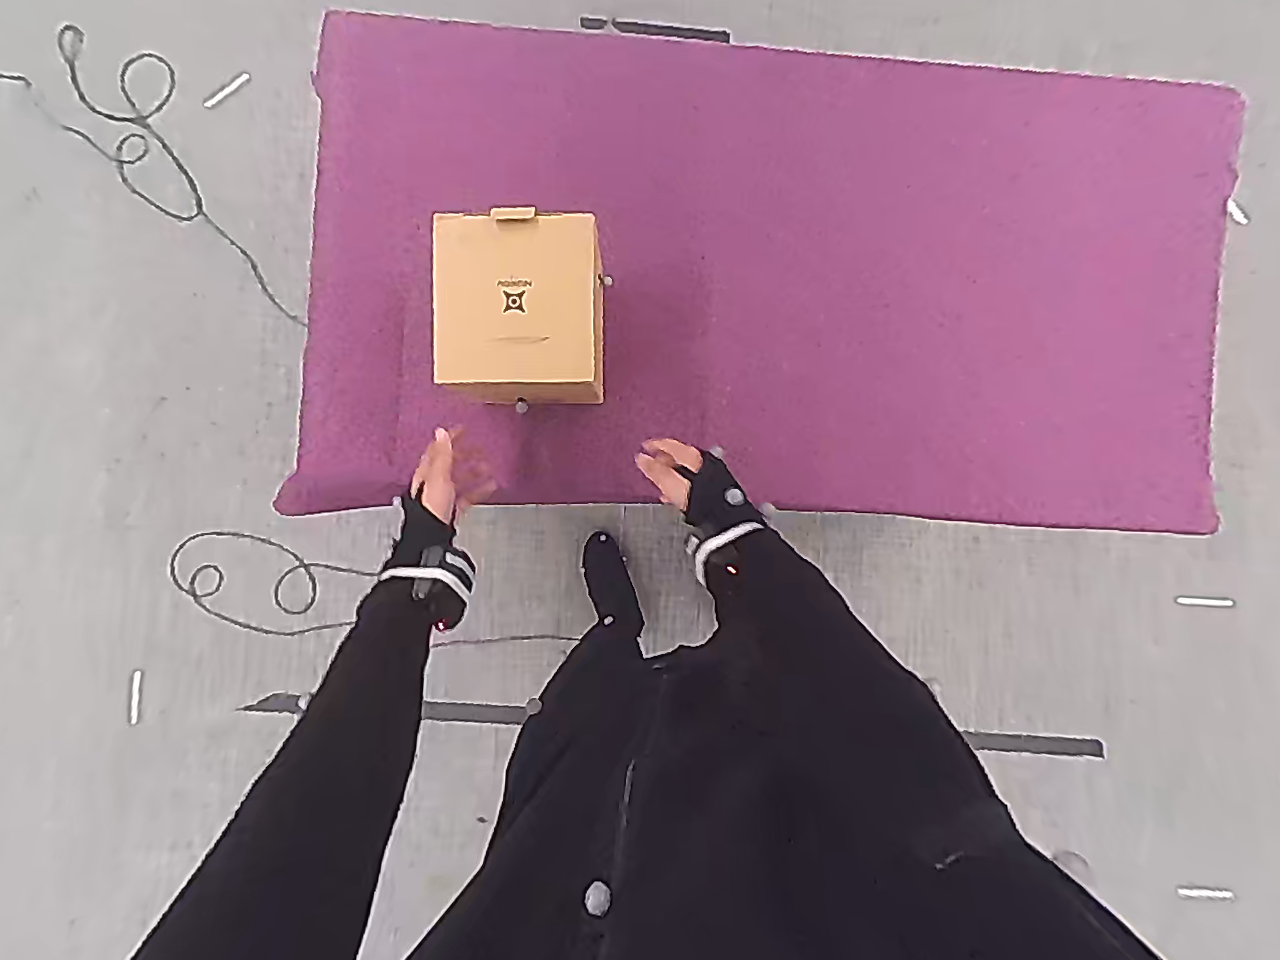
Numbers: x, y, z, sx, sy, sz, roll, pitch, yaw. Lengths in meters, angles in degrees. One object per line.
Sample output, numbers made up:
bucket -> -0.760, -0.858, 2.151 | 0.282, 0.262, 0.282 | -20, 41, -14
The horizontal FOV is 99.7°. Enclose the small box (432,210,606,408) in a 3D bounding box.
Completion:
small box -> -0.128, -0.183, 0.625 | 0.168, 0.176, 0.179 | 1, 90, -1
